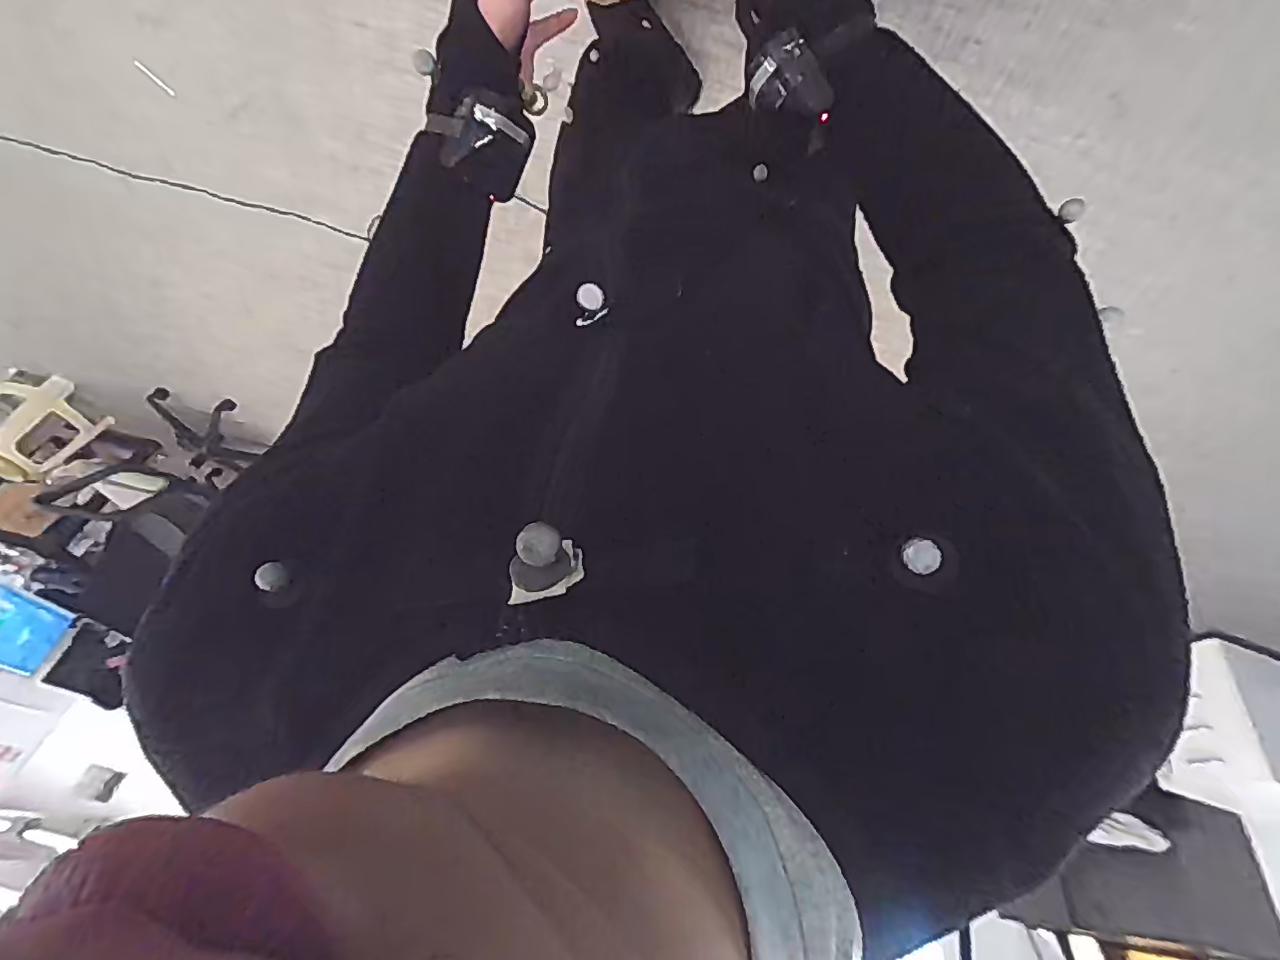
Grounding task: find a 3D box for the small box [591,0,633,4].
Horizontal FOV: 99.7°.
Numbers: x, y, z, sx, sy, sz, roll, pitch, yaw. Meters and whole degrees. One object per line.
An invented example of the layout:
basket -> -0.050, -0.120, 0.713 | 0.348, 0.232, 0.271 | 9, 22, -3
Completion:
small box -> 0.003, -0.518, 0.437 | 0.168, 0.176, 0.179 | -1, 124, 17
